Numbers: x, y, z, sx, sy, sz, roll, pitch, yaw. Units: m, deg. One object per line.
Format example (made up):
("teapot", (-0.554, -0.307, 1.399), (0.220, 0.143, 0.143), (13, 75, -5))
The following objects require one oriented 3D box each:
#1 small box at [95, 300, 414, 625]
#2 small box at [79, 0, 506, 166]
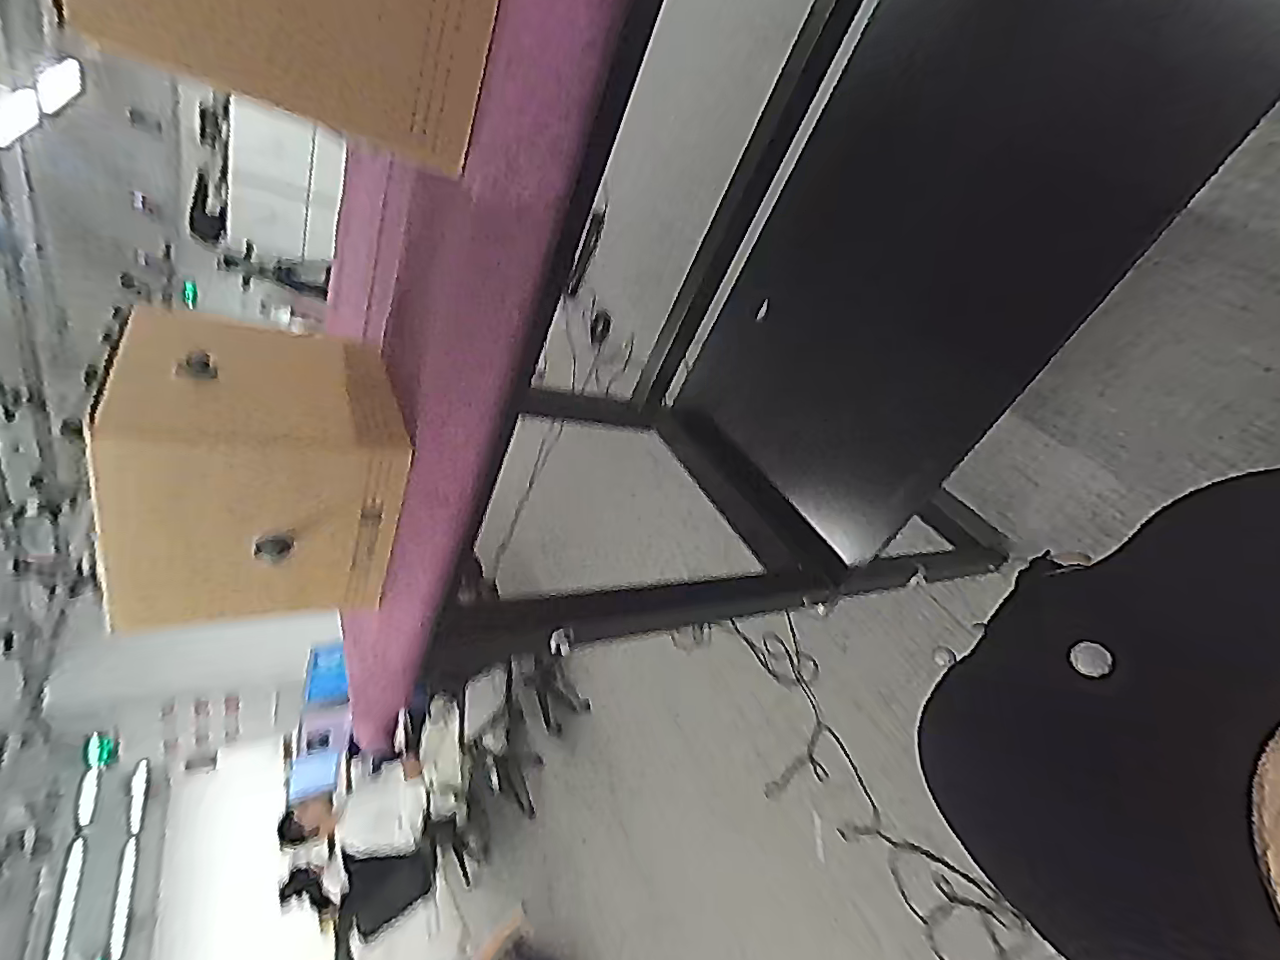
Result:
("small box", (-0.289, -0.015, 0.425), (0.179, 0.176, 0.168), (52, 127, 41))
("small box", (-0.166, -0.301, 0.282), (0.168, 0.176, 0.179), (54, 130, 41))
